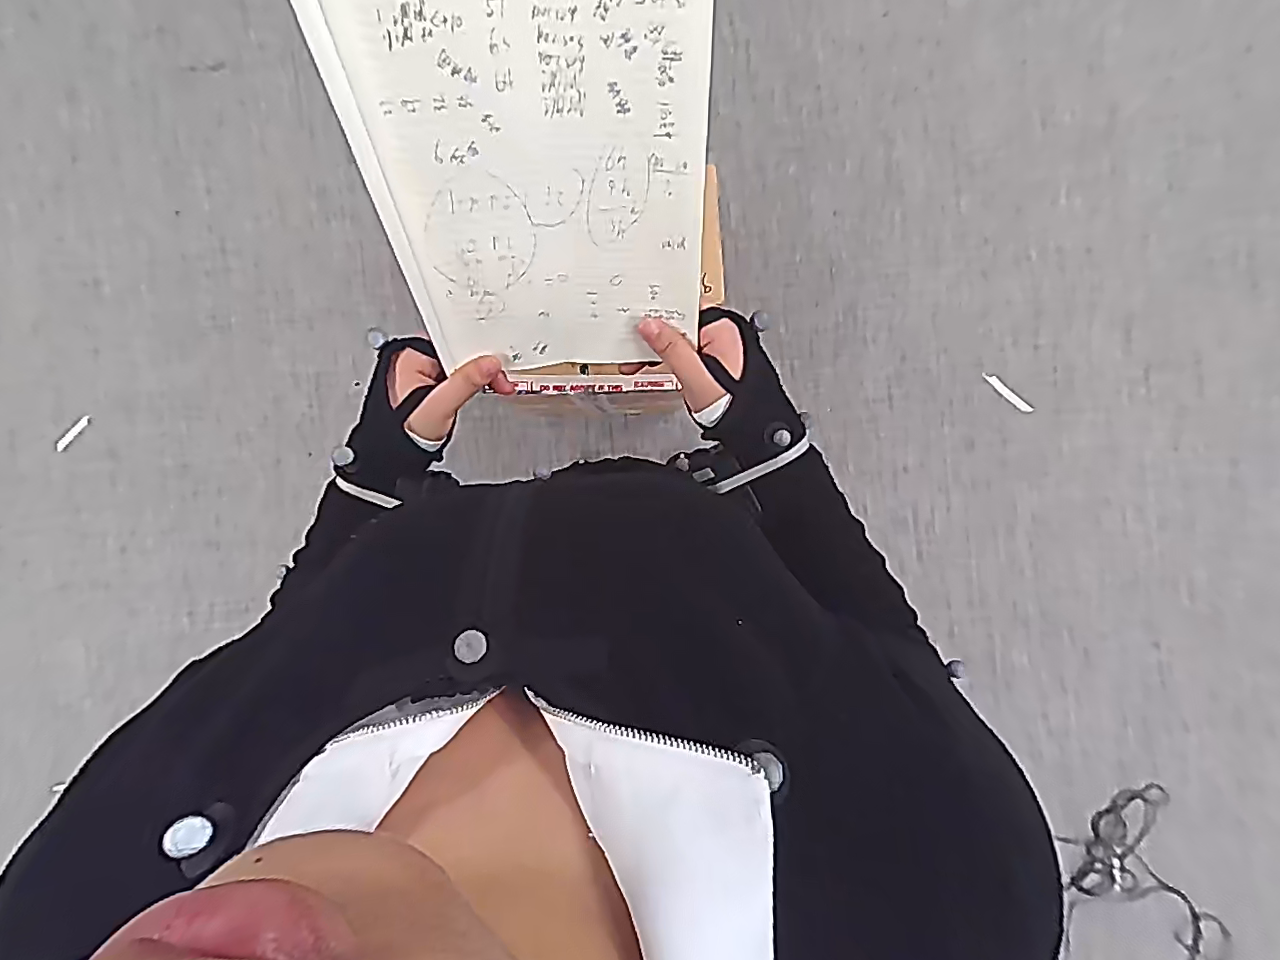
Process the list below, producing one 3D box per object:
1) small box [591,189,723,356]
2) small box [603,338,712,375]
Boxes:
[{"bbox_3d":[0.019,-0.285,0.775,0.168,0.176,0.179,-4,92,-1],"label":"small box"},{"bbox_3d":[0.020,-0.283,0.939,0.179,0.176,0.168,-7,92,0],"label":"small box"}]
